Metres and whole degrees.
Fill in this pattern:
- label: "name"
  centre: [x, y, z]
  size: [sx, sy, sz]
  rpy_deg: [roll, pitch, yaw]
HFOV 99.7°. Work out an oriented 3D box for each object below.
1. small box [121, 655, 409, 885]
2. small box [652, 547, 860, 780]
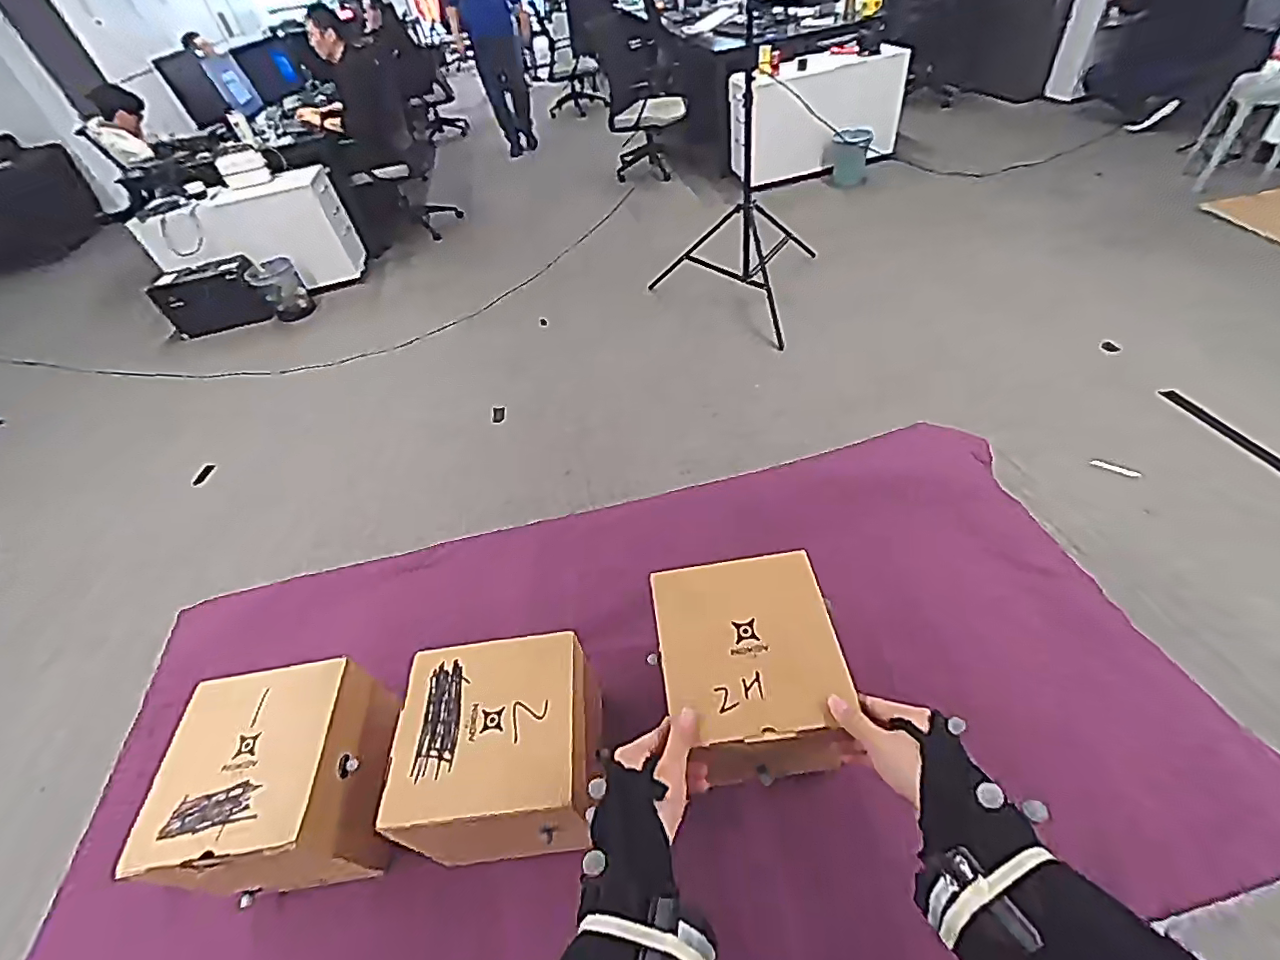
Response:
- label: "small box"
  centre: [-0.374, 0.319, 0.586]
  size: [0.168, 0.176, 0.179]
  rpy_deg: [-10, 46, 1]
- label: "small box"
  centre: [0.108, 0.197, 0.574]
  size: [0.168, 0.176, 0.179]
  rpy_deg: [-9, 50, 2]
